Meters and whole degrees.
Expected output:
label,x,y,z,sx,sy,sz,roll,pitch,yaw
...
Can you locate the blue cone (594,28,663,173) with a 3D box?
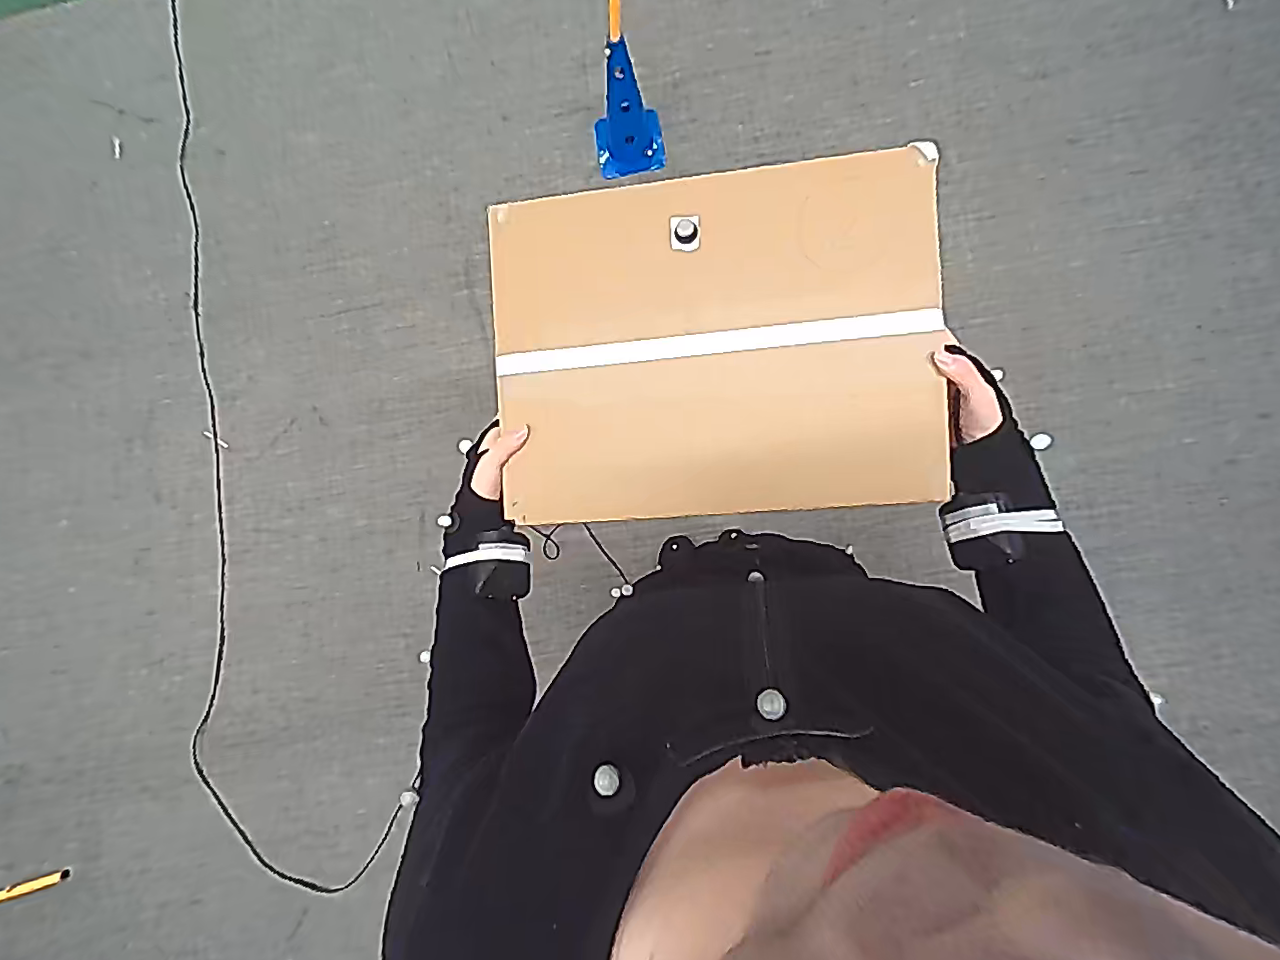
label,x,y,z,sx,sy,sz,roll,pitch,yaw
blue cone,-0.046,-1.046,1.466,0.193,0.380,0.192,-11,83,2
